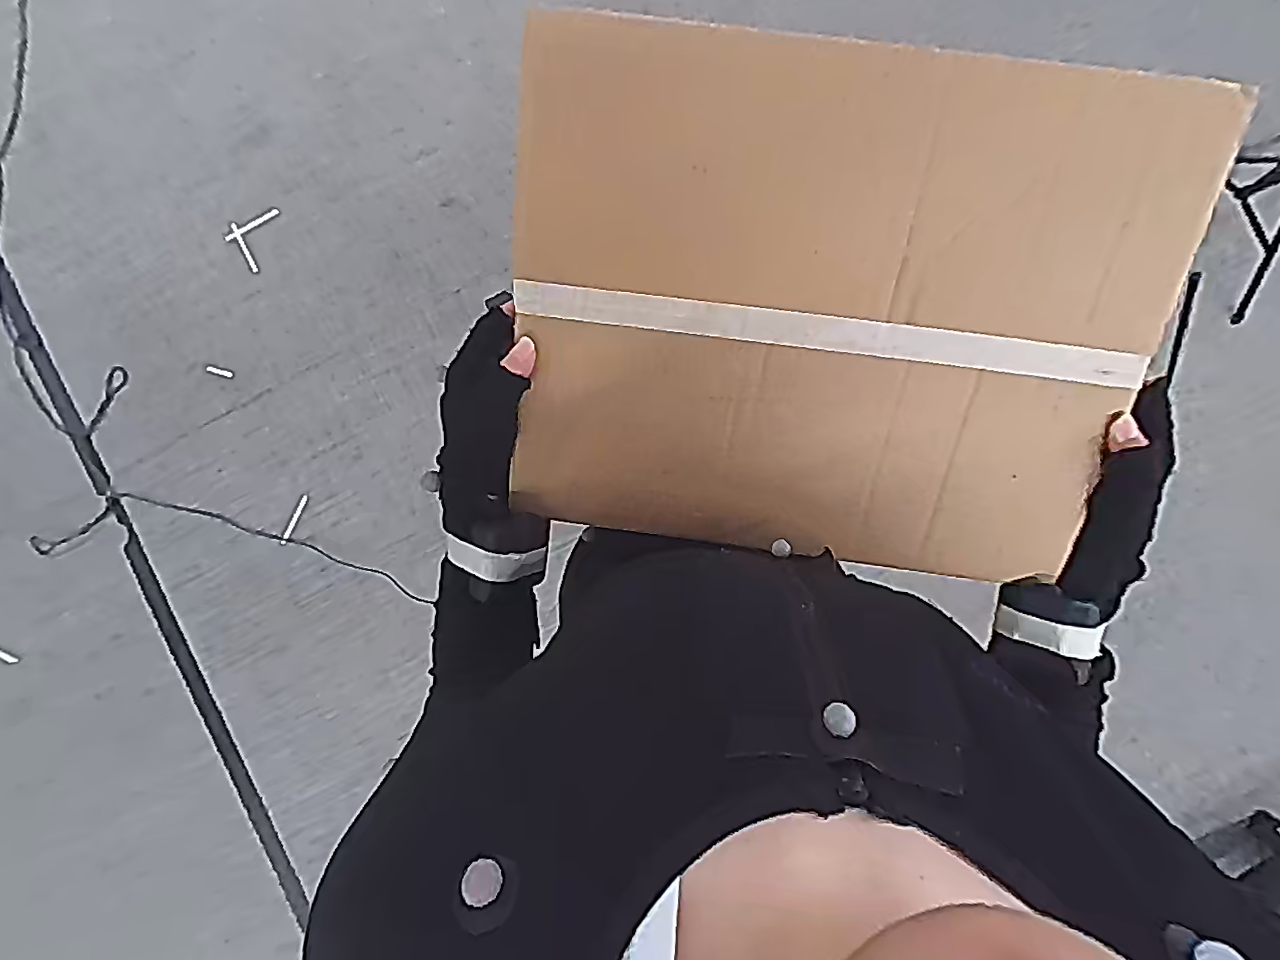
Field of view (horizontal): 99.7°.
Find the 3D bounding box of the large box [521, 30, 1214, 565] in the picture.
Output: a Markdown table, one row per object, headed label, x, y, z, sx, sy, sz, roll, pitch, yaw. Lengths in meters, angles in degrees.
| label | x | y | z | sx | sy | sz | roll | pitch | yaw |
| --- | --- | --- | --- | --- | --- | --- | --- | --- | --- |
| large box | 0.126 | -0.148 | 0.504 | 0.408 | 0.320 | 0.320 | 8 | 111 | 1 |
